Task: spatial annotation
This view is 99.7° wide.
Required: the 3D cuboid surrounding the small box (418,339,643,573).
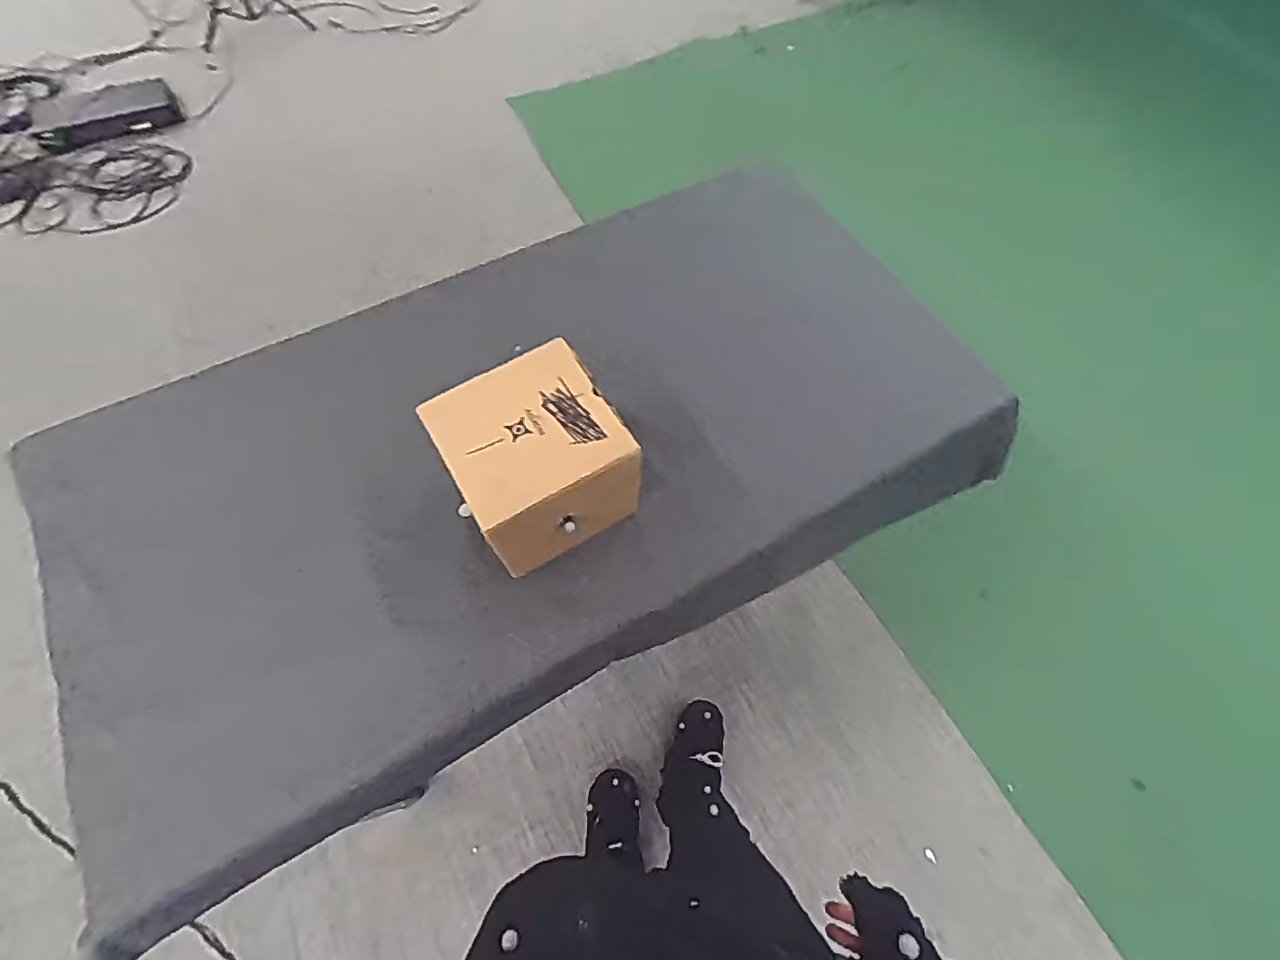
[{"bbox_3d":[-0.117,-0.021,0.621,0.179,0.176,0.168,-32,70,-16],"label":"small box"}]
